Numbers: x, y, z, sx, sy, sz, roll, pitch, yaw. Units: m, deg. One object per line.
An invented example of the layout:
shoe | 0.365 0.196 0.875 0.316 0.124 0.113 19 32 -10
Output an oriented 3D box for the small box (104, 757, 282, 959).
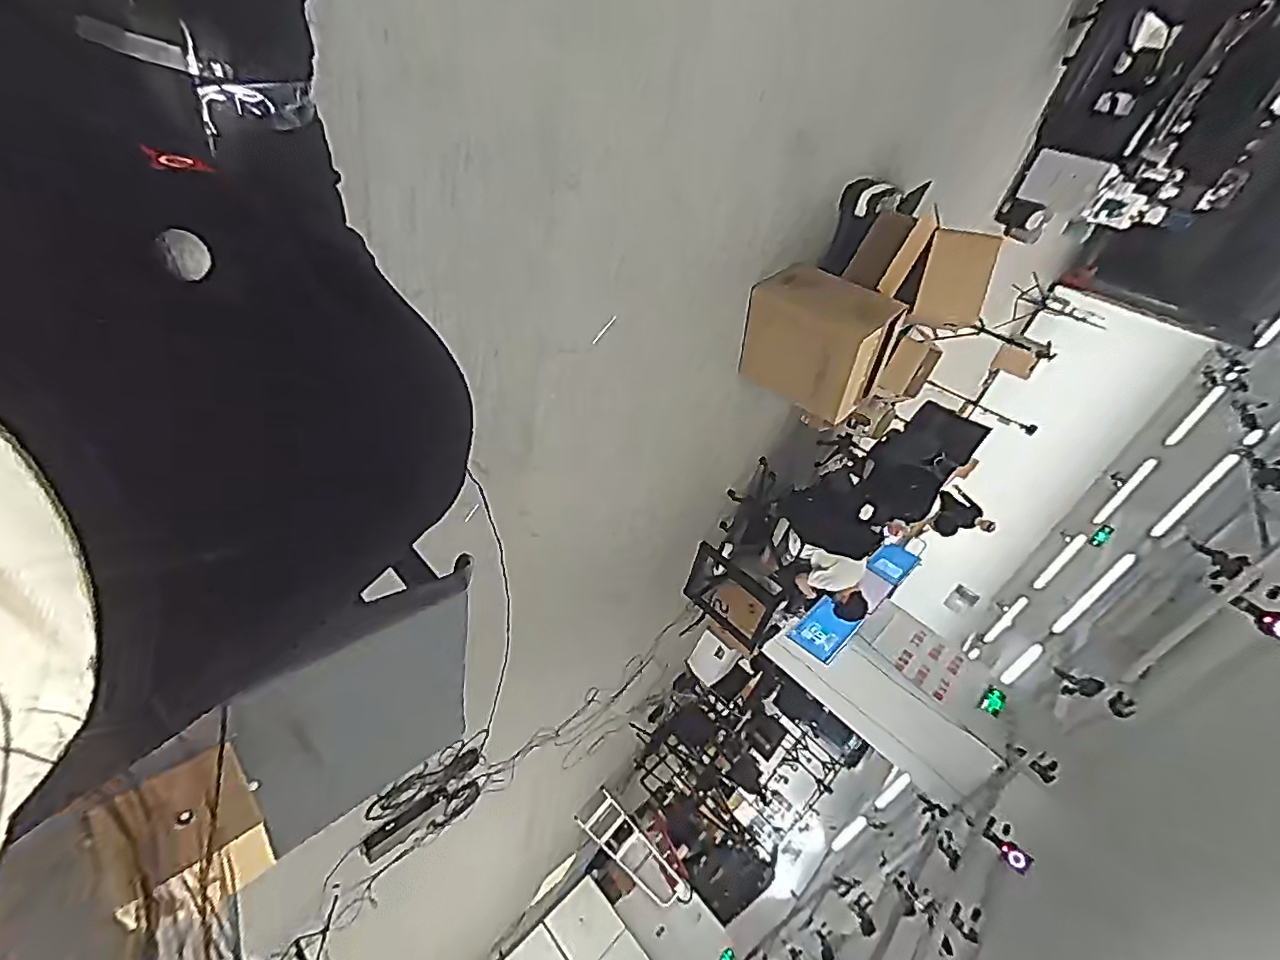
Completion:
small box | -0.704 0.590 0.855 0.179 0.176 0.168 -23 139 -44
